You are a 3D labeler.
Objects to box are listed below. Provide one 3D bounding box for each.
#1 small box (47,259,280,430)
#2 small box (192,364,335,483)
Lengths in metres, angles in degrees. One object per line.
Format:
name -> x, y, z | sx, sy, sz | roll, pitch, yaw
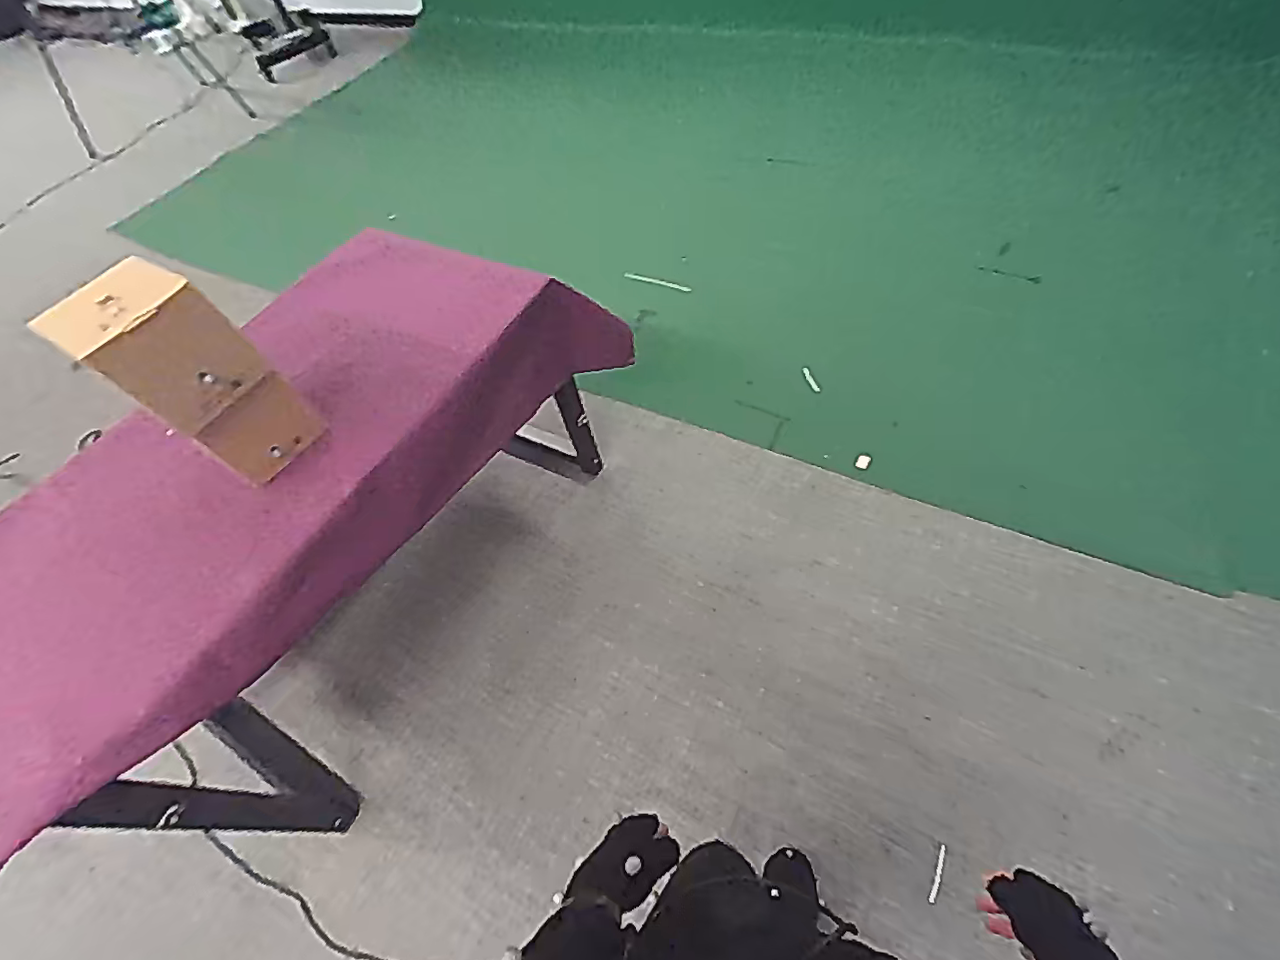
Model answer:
small box -> -0.713, -0.203, 0.828 | 0.179, 0.176, 0.168 | 25, 65, 23
small box -> -0.702, -0.122, 0.972 | 0.179, 0.176, 0.168 | 26, 65, 23
